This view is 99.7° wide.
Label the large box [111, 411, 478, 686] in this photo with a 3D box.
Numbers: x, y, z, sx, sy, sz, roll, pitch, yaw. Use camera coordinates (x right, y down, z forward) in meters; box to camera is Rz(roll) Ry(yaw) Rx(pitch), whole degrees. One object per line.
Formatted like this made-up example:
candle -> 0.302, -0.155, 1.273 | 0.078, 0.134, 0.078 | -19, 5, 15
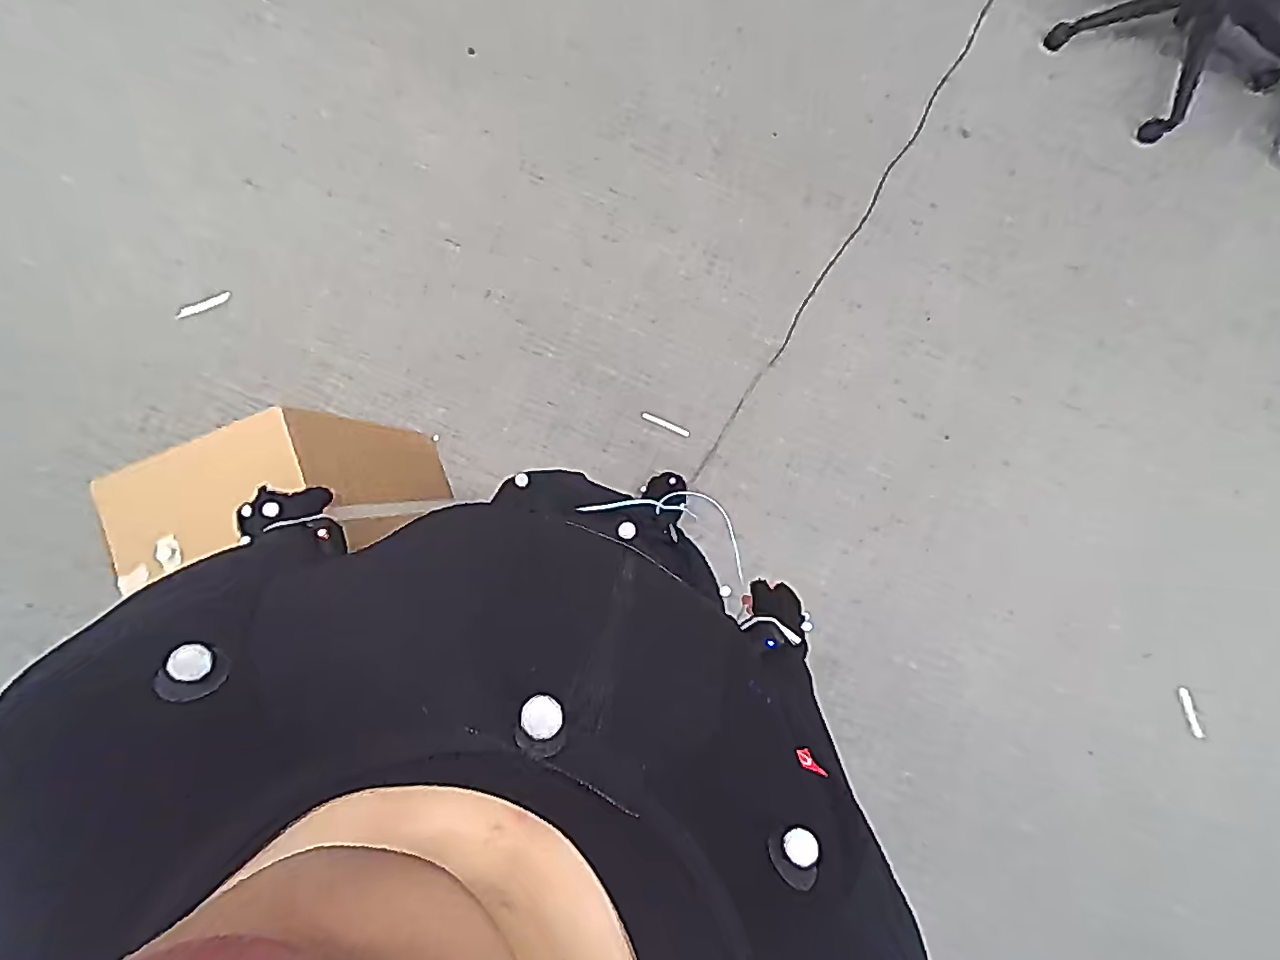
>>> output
large box -> -0.550, 0.101, 0.944 | 0.320, 0.408, 0.320 | -21, 86, 6
